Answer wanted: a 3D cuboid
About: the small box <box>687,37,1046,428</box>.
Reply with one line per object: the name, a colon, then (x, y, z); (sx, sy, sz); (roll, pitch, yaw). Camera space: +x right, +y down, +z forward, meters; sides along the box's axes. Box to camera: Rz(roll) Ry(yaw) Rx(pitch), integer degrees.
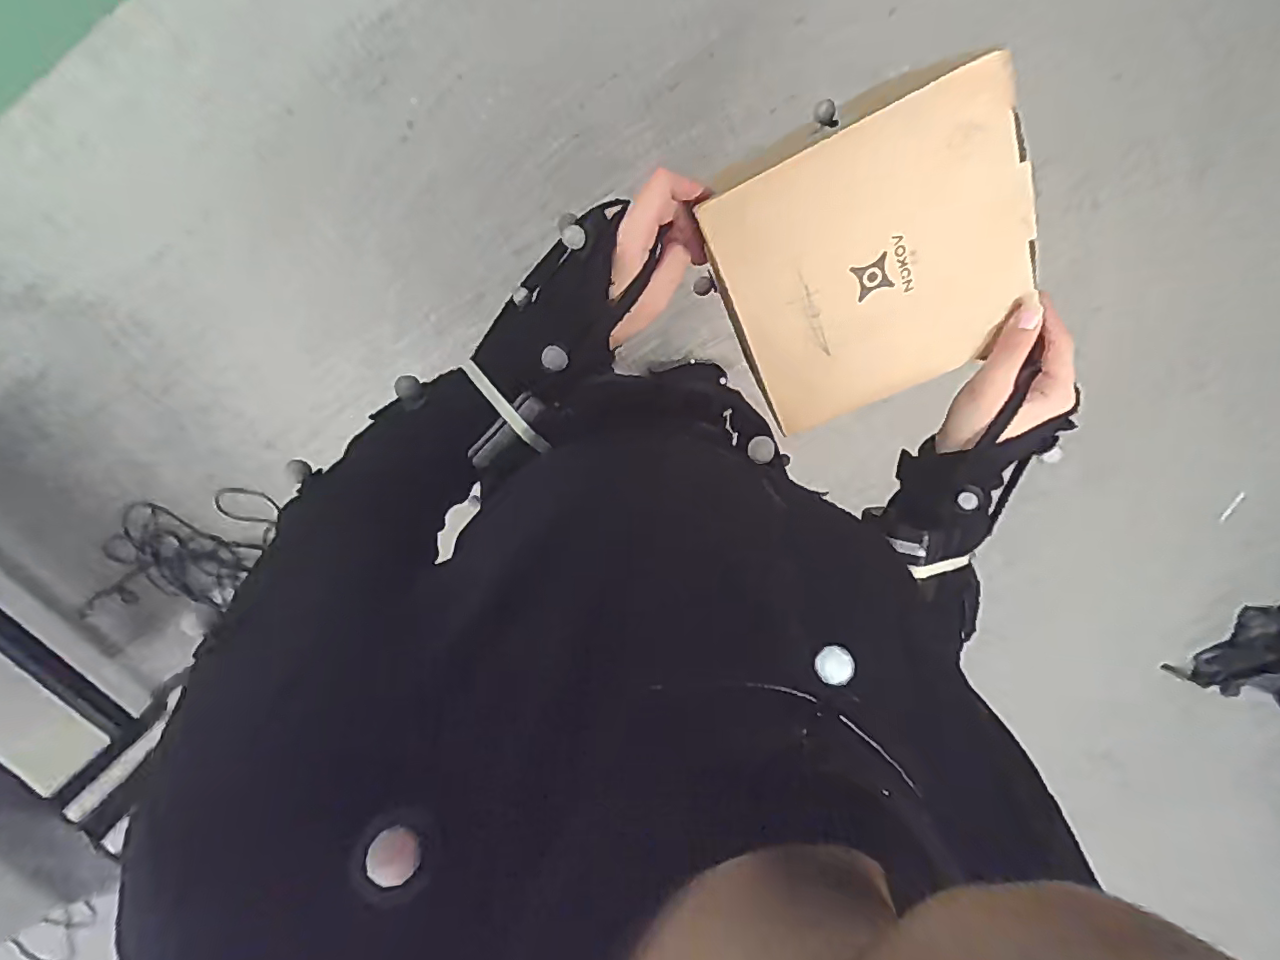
small box: (0.146, -0.172, 0.397); (0.179, 0.176, 0.168); (-24, 116, 15)
